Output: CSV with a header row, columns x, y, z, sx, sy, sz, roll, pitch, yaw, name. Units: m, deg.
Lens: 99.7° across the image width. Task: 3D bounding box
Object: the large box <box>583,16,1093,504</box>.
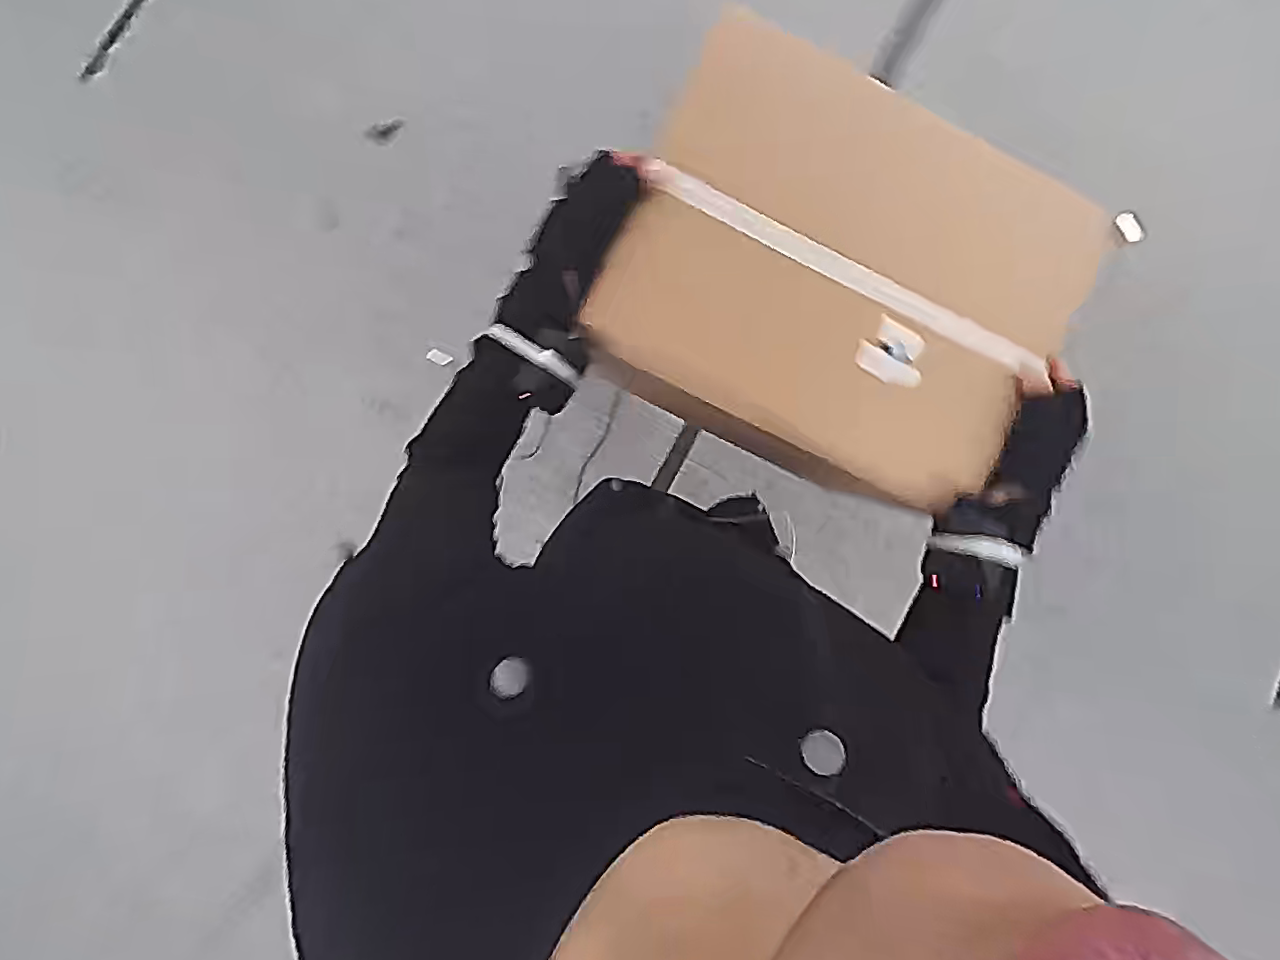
x,y,z,sx,sy,sz,roll,pitch,yaw,name
0.176,-0.205,0.646,0.408,0.320,0.320,25,94,-5,large box
